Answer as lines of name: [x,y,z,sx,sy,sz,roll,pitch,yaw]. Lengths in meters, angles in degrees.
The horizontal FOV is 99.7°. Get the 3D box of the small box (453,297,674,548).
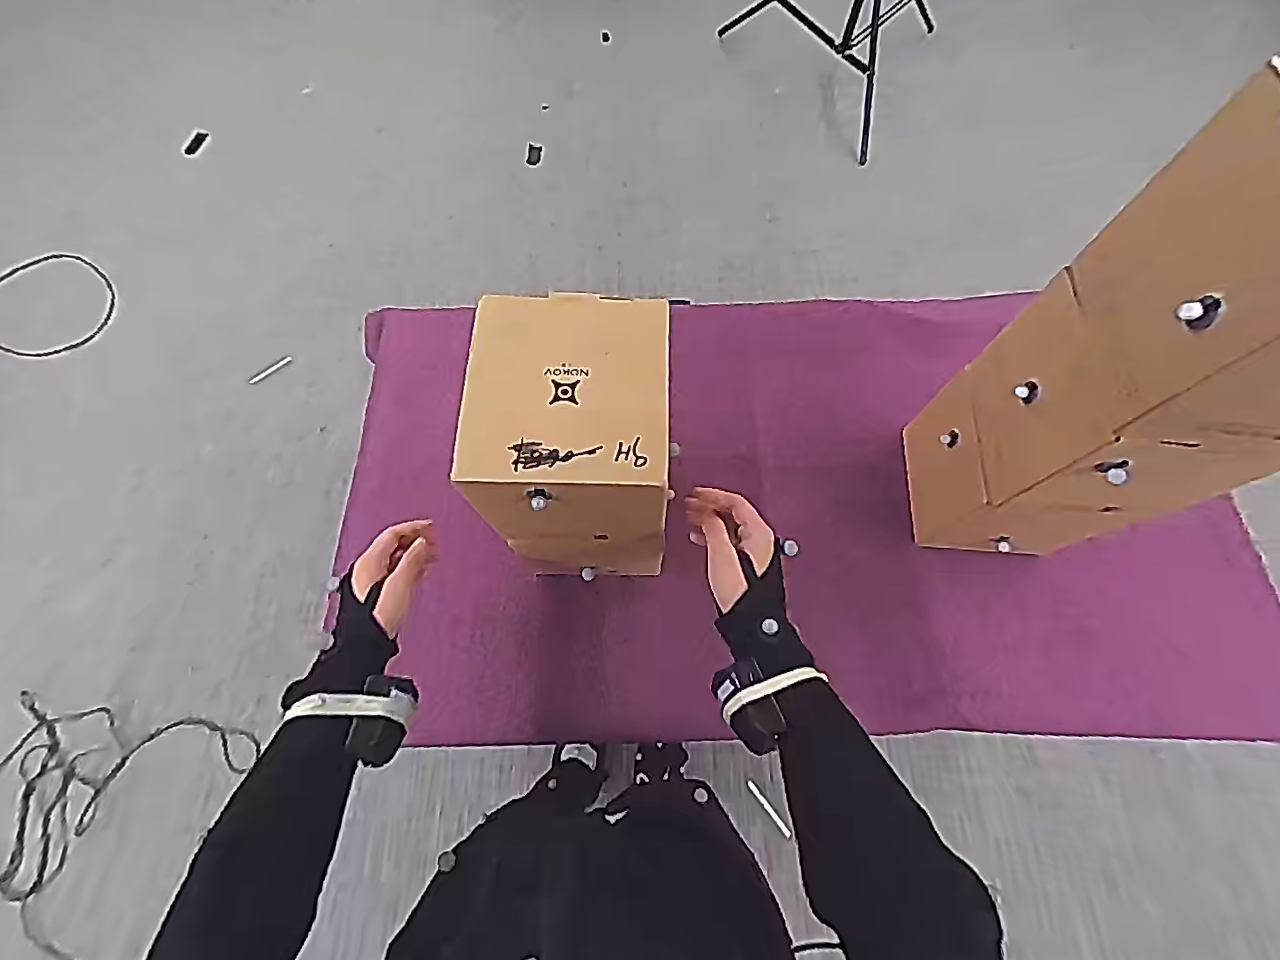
small box: [-0.056,-0.045,0.507,0.168,0.176,0.179,1,68,1]

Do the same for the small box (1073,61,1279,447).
small box: [0.446,-0.133,0.364,0.168,0.176,0.179,6,67,2]

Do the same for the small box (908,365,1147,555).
small box: [0.452,-0.018,0.669,0.168,0.176,0.179,4,68,3]

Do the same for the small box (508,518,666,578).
small box: [-0.054,0.015,0.660,0.168,0.176,0.179,0,69,1]
